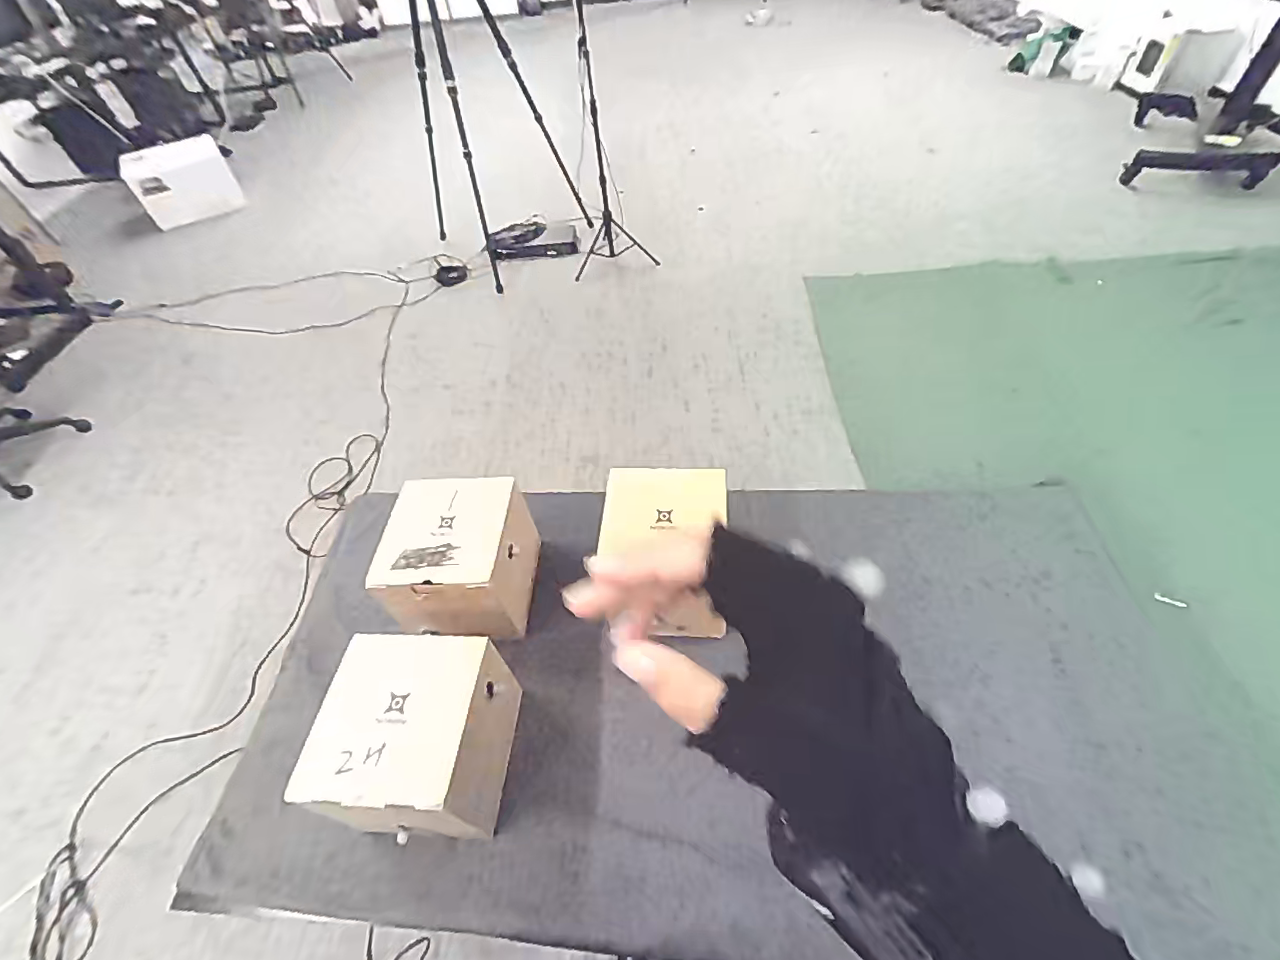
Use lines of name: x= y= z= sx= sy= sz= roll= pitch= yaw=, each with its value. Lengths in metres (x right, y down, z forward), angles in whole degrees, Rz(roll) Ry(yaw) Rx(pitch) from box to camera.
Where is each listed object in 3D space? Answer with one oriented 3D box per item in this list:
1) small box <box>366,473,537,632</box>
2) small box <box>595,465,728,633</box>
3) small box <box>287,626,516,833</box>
small box: x=-0.255 y=0.110 z=0.786 sx=0.168 sy=0.176 sz=0.179 roll=-1 pitch=50 yaw=4
small box: x=0.037 y=0.099 z=0.771 sx=0.168 sy=0.176 sz=0.179 roll=1 pitch=52 yaw=6
small box: x=-0.255 y=0.292 z=0.635 sx=0.168 sy=0.176 sz=0.179 roll=0 pitch=49 yaw=6
